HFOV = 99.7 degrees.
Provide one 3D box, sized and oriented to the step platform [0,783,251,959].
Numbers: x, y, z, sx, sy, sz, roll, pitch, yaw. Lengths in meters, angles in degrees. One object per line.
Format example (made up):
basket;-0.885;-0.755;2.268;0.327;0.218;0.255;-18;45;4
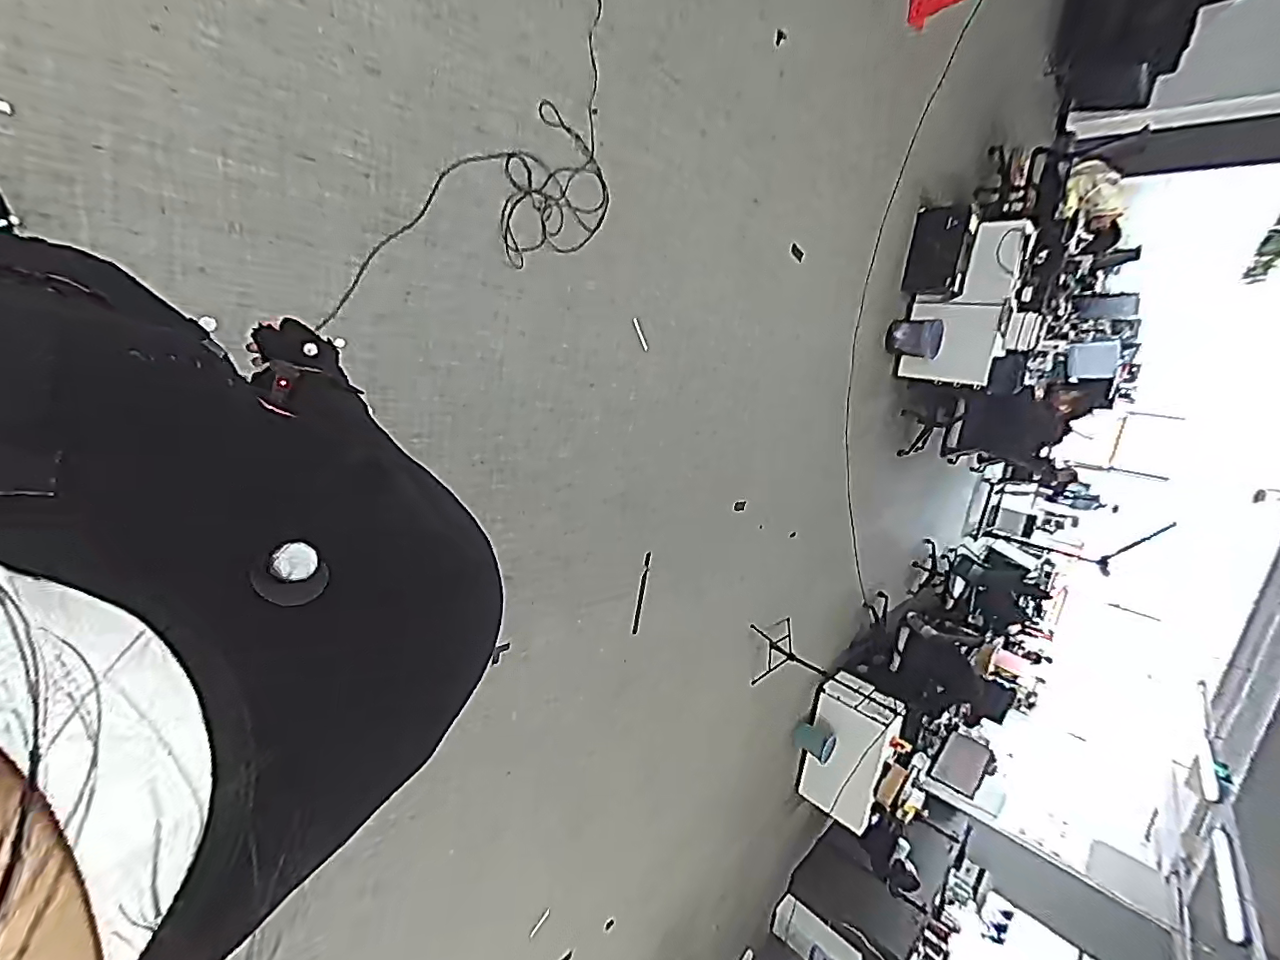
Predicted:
step platform;-1.224;0.943;1.119;0.684;0.204;0.286;-6;109;-46
